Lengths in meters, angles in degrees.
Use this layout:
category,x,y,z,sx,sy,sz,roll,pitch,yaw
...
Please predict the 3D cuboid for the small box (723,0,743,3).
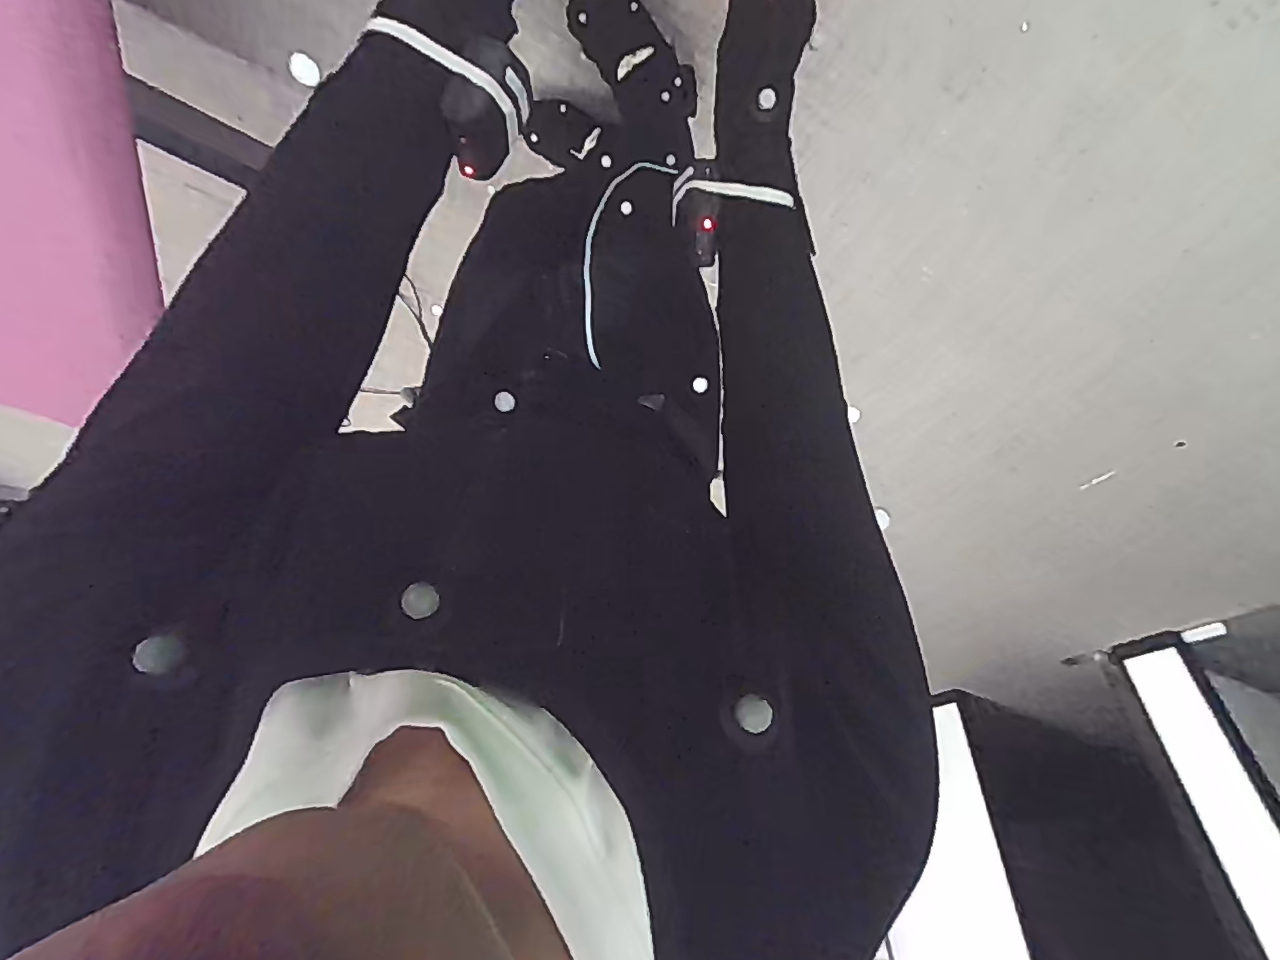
category,x,y,z,sx,sy,sz,roll,pitch,yaw
small box,0.056,-0.505,0.392,0.168,0.176,0.179,26,126,-27
